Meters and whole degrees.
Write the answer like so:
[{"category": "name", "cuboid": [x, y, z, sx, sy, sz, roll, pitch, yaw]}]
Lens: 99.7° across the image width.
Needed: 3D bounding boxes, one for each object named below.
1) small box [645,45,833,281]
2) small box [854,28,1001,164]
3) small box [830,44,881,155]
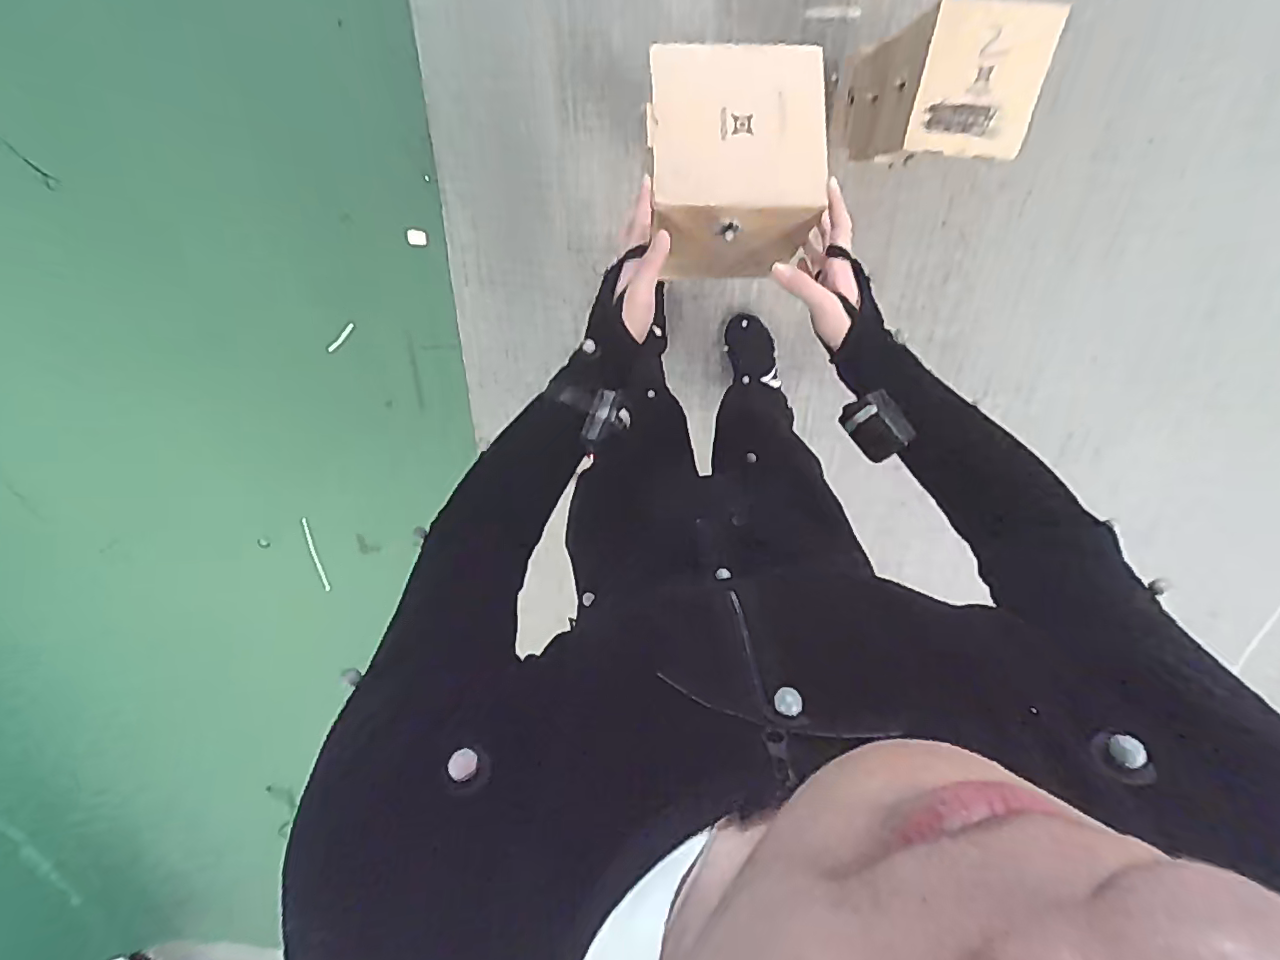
[{"category": "small box", "cuboid": [0.094, -0.333, 0.598, 0.179, 0.176, 0.168, -1, 86, -2]}, {"category": "small box", "cuboid": [0.489, -0.662, 0.952, 0.168, 0.176, 0.179, 0, 119, 5]}, {"category": "small box", "cuboid": [0.496, -0.753, 1.086, 0.179, 0.176, 0.168, 3, 119, 3]}]
